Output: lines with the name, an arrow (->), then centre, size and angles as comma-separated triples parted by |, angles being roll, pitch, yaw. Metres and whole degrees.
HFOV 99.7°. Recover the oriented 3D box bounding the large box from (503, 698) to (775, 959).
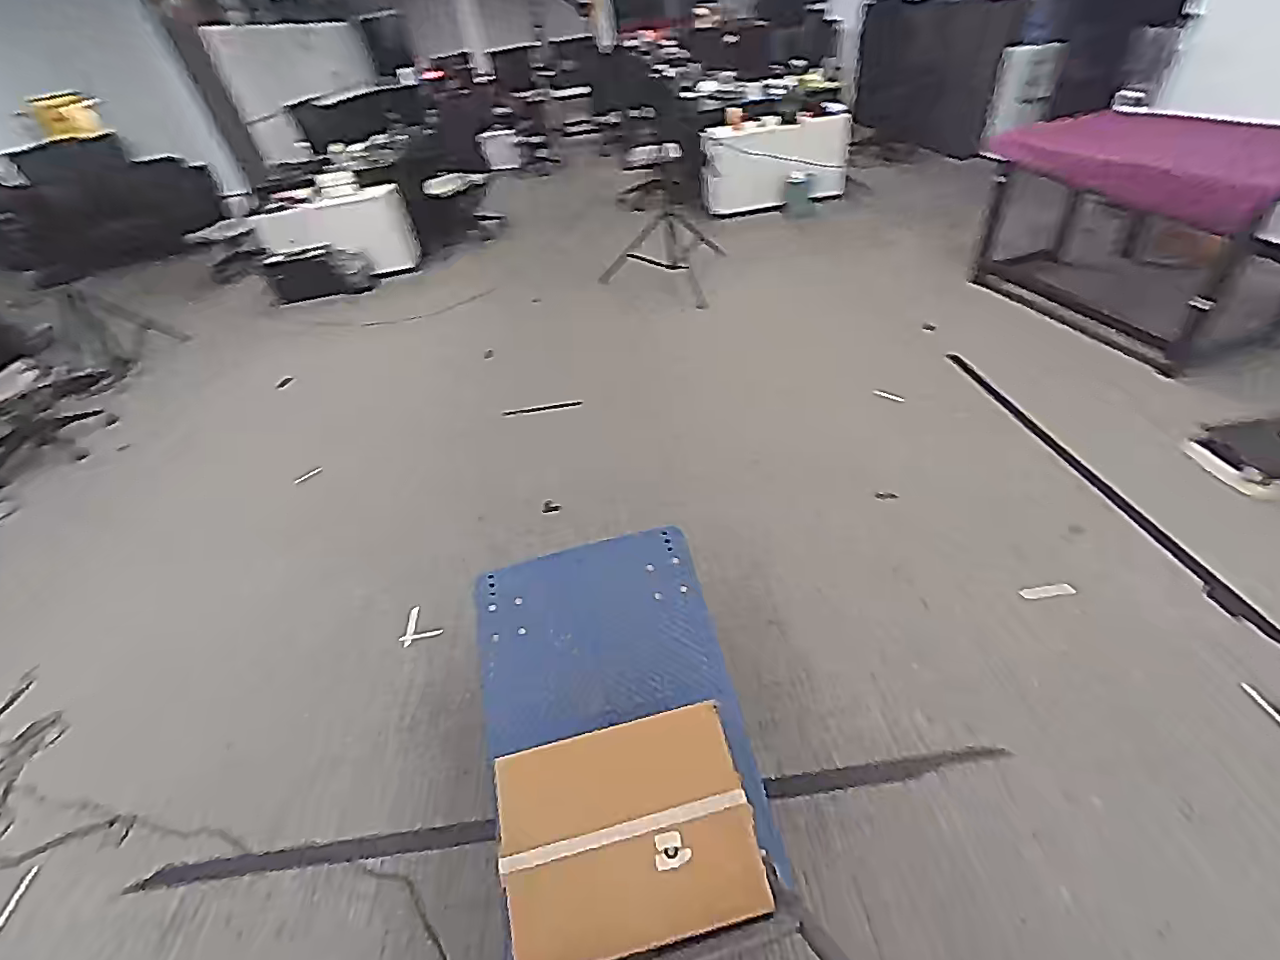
large box -> -0.009, 0.653, 1.028 | 0.408, 0.320, 0.320 | -14, 60, -5
